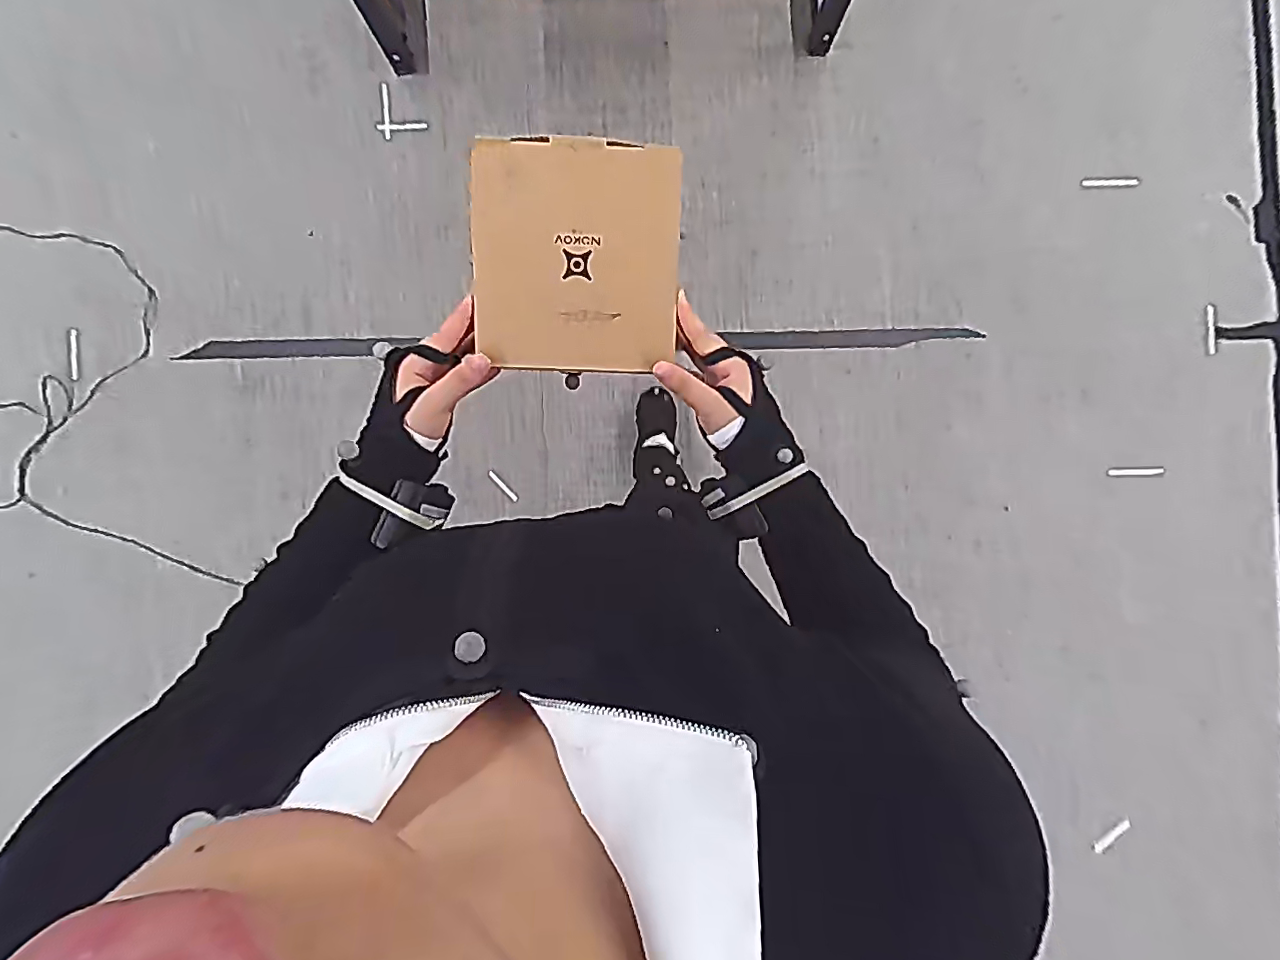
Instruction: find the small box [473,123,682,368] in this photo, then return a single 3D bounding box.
[{"bbox_3d":[-0.056,-0.201,0.515,0.168,0.176,0.179,2,101,-3],"label":"small box"}]
